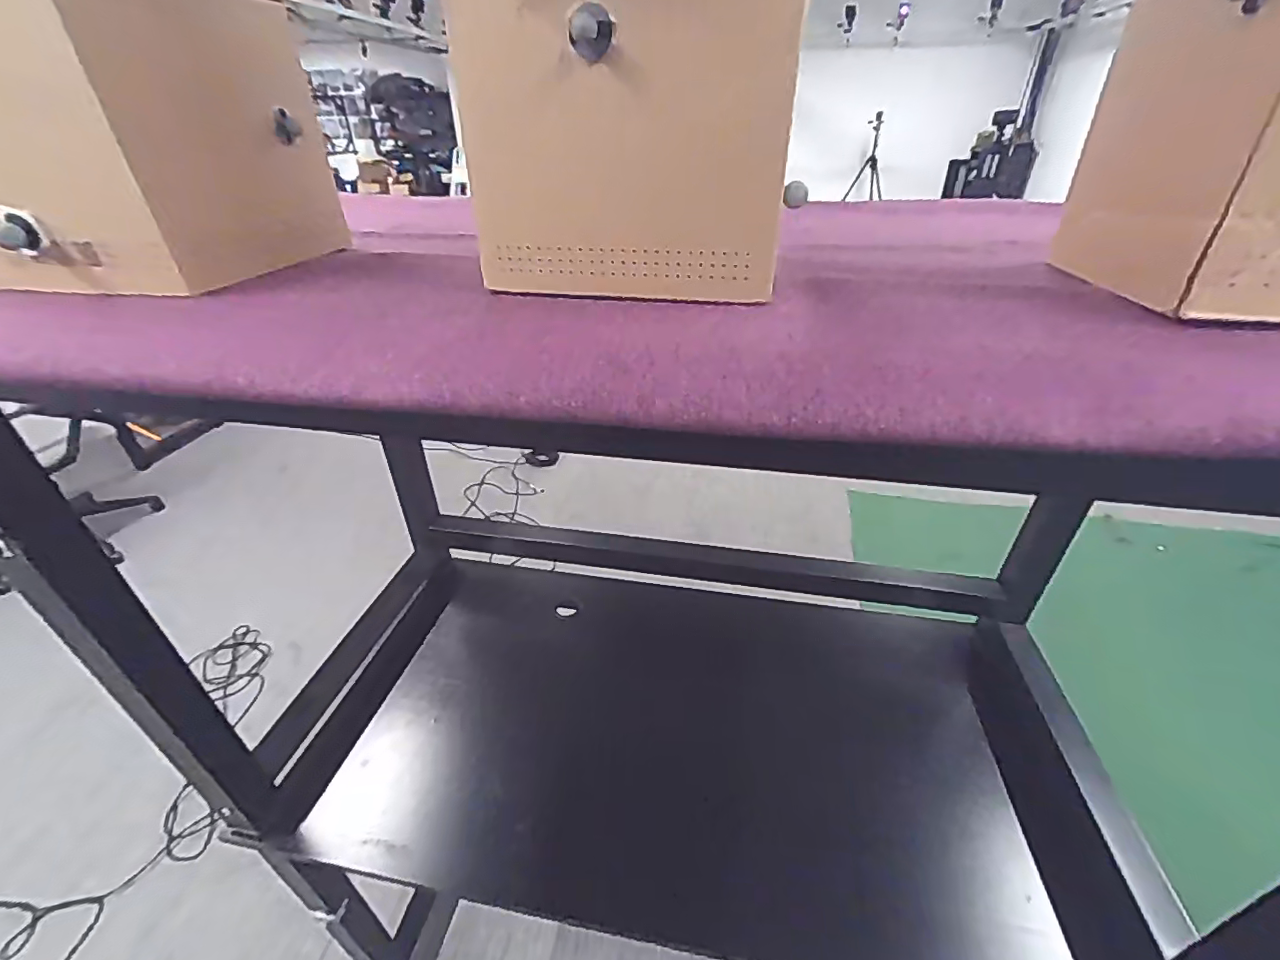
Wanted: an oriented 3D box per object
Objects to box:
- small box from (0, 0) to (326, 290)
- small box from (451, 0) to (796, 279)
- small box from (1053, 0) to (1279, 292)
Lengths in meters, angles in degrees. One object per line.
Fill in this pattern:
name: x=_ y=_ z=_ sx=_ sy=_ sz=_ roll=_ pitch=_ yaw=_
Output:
small box: x=-0.349 y=-0.238 z=0.366 sx=0.168 sy=0.176 sz=0.179 roll=2 pitch=35 yaw=7
small box: x=0.000 y=-0.228 z=0.338 sx=0.179 sy=0.176 sz=0.168 roll=6 pitch=33 yaw=10
small box: x=0.352 y=-0.194 z=0.271 sx=0.168 sy=0.176 sz=0.179 roll=5 pitch=32 yaw=13
